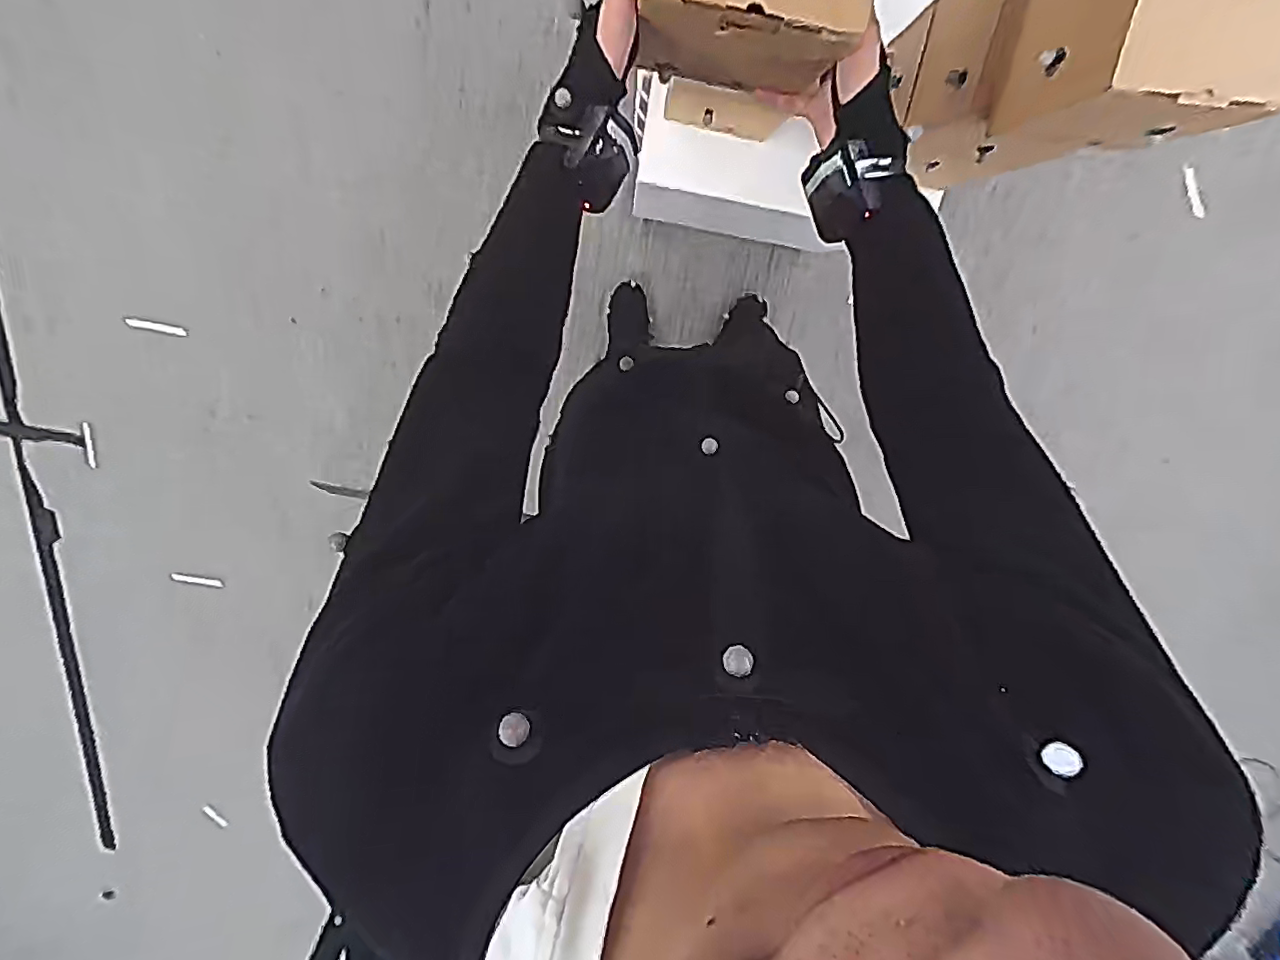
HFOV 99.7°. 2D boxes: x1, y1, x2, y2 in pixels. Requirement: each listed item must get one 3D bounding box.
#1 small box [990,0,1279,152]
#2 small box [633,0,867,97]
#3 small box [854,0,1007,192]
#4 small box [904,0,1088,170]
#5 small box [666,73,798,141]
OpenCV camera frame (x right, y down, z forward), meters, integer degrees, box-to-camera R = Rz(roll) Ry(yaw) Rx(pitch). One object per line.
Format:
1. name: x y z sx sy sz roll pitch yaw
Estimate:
1. small box: 0.456 -0.411 0.483 0.168 0.176 0.179 3 110 -3
2. small box: 0.087 -0.434 0.425 0.168 0.176 0.179 7 112 -6
3. small box: 0.435 -0.539 0.784 0.168 0.176 0.179 8 110 -4
4. small box: 0.439 -0.481 0.630 0.168 0.176 0.179 8 110 -5
5. small box: 0.134 -0.600 0.753 0.168 0.176 0.179 10 109 -6
